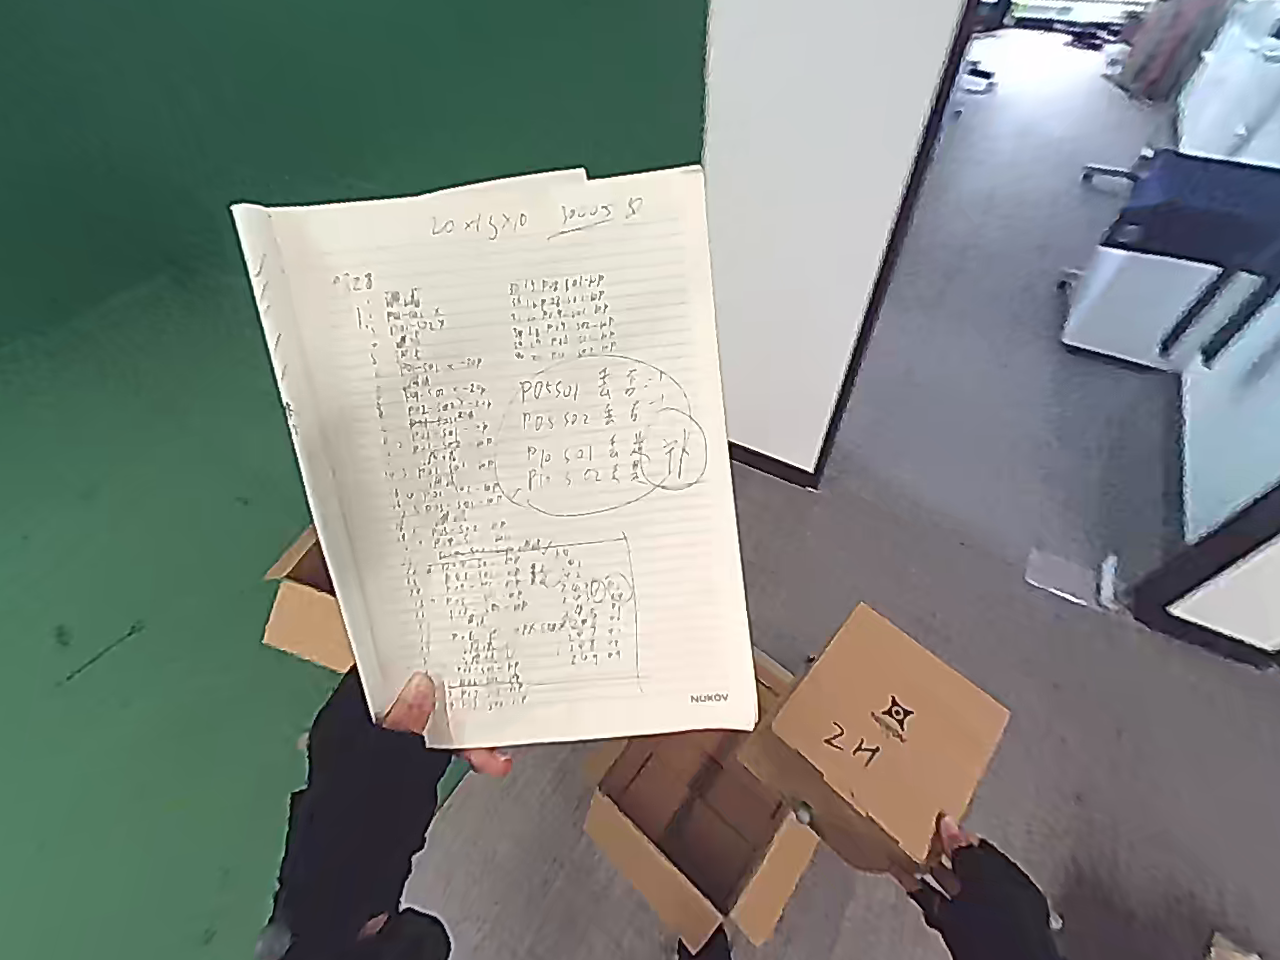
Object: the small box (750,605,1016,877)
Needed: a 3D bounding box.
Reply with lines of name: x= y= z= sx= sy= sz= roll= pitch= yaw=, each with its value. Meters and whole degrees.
small box: x=0.237 y=0.272 z=0.569 sx=0.168 sy=0.176 sz=0.179 roll=39 pitch=62 yaw=23
